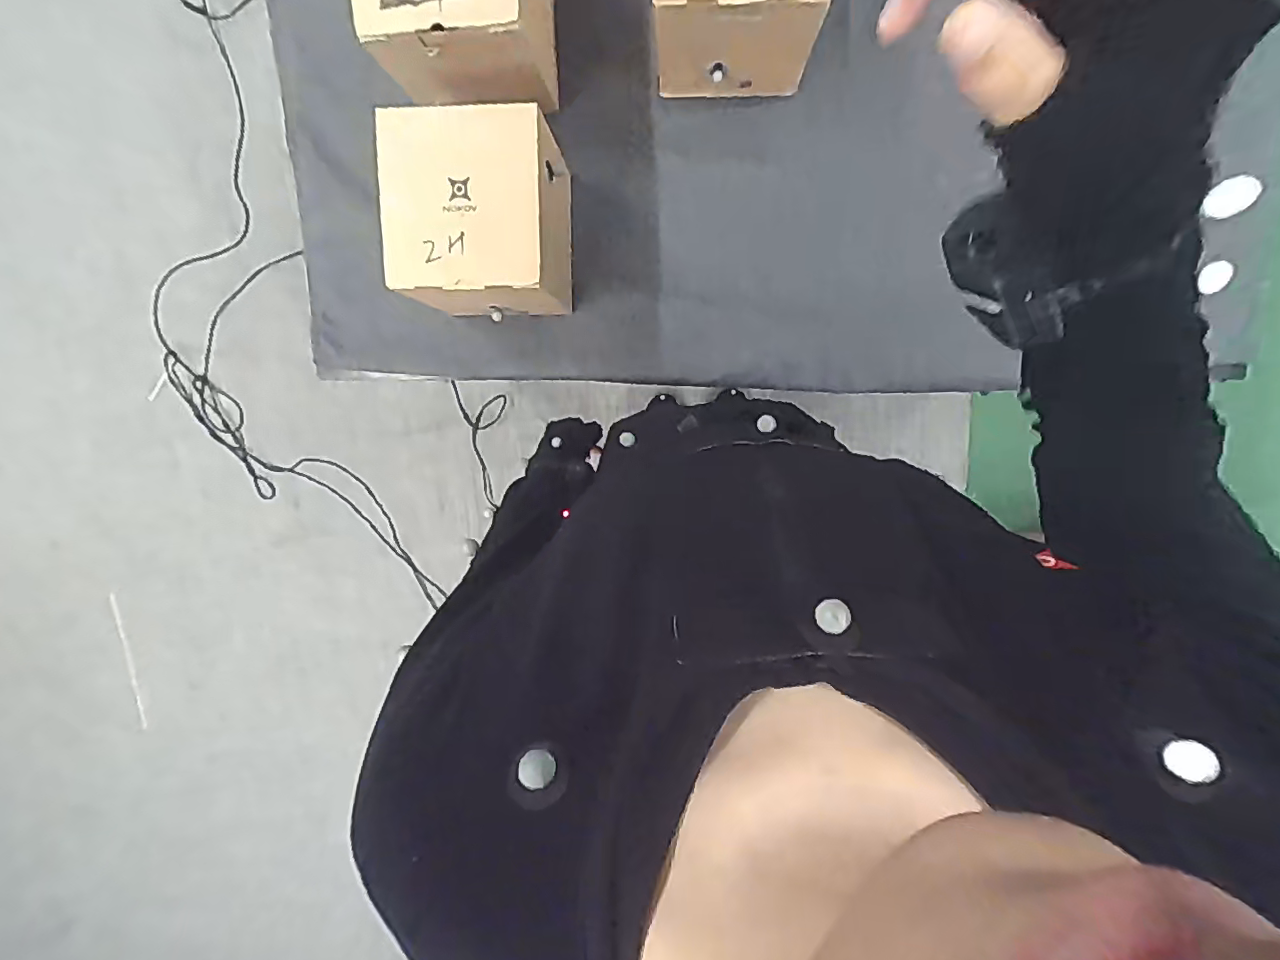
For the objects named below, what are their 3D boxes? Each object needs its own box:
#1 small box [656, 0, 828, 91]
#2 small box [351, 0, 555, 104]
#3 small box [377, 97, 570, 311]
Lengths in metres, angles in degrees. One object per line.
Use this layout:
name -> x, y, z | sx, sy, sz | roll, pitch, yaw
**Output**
small box -> 0.101, -0.546, 0.562 | 0.168, 0.176, 0.179 | 2, 101, 3
small box -> -0.191, -0.533, 0.581 | 0.168, 0.176, 0.179 | -1, 100, 4
small box -> -0.177, -0.299, 0.620 | 0.168, 0.176, 0.179 | 1, 99, 3
